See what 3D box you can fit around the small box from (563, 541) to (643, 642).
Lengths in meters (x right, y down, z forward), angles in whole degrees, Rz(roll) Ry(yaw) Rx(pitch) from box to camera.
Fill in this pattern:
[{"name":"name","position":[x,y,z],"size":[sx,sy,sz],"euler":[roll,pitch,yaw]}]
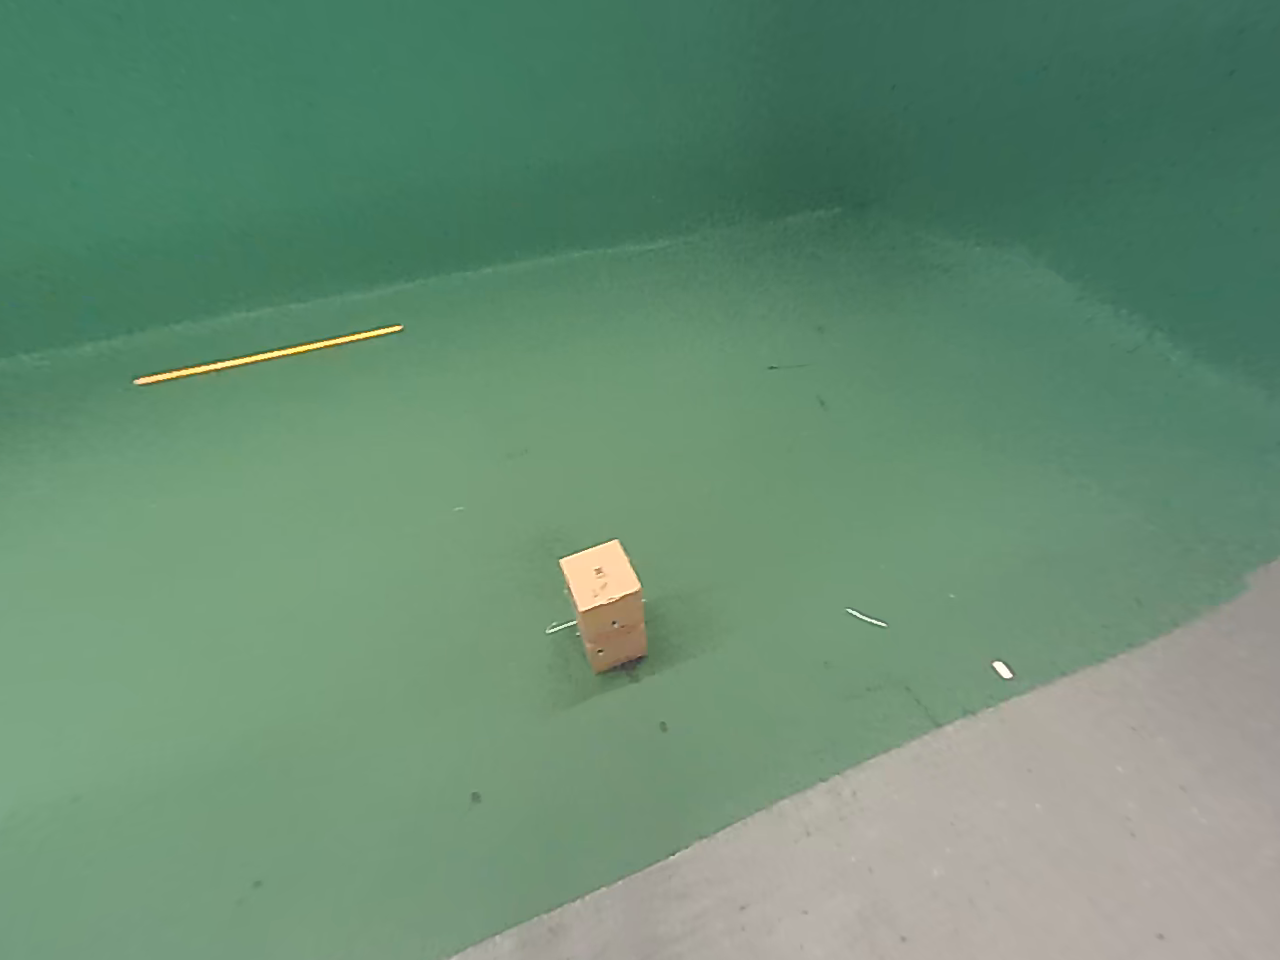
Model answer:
[{"name":"small box","position":[-0.099,0.301,1.451],"size":[0.168,0.176,0.179],"euler":[-18,48,-14]}]
